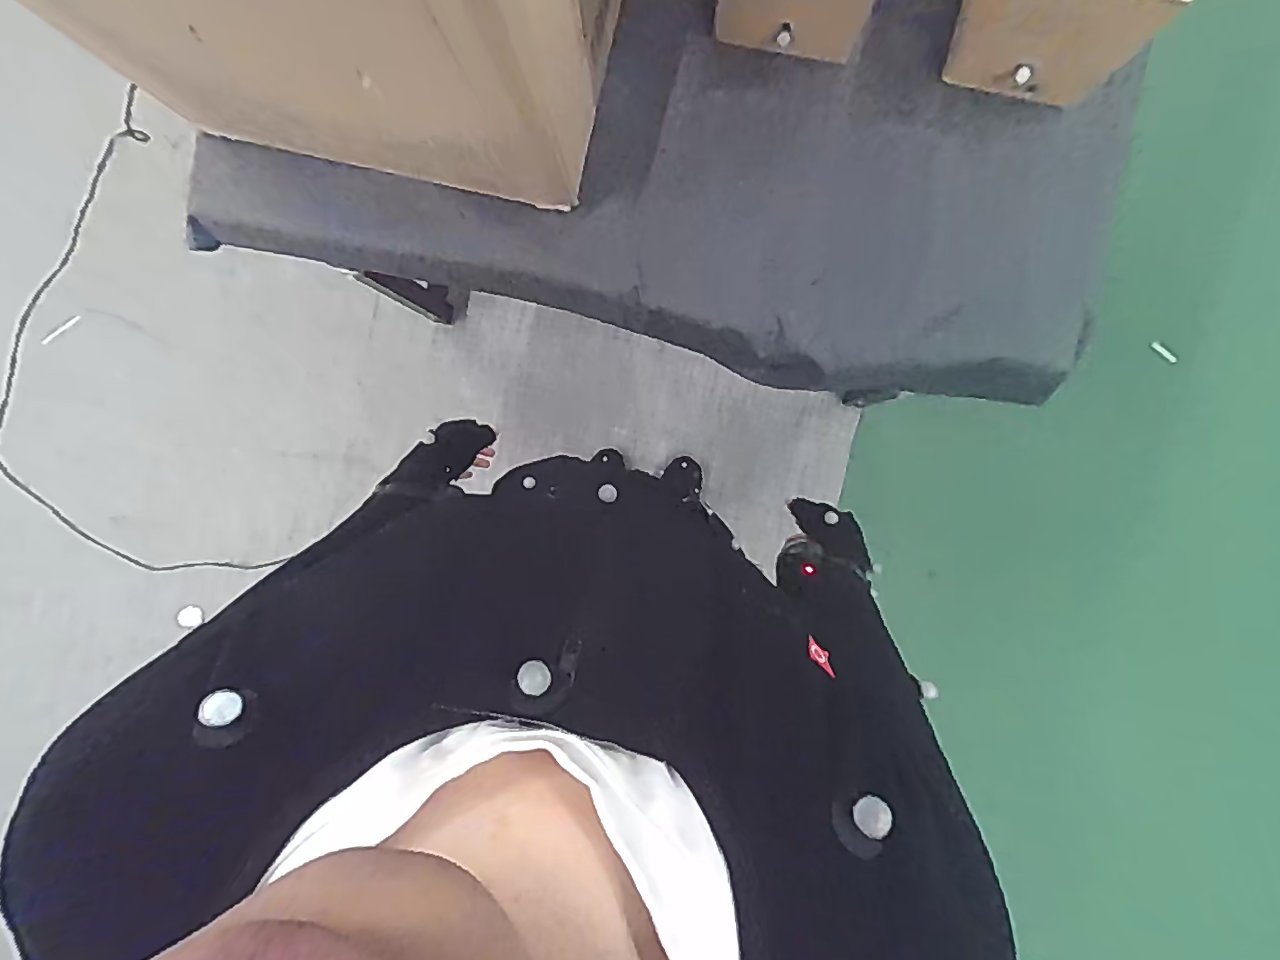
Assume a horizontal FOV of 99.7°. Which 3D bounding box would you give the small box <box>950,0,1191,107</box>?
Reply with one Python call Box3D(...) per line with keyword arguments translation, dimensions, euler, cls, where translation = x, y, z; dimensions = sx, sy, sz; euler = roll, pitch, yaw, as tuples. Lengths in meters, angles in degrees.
Box3D(translation=(0.483, -0.570, 0.603), dimensions=(0.168, 0.176, 0.179), euler=(15, 95, 3), cls="small box")
